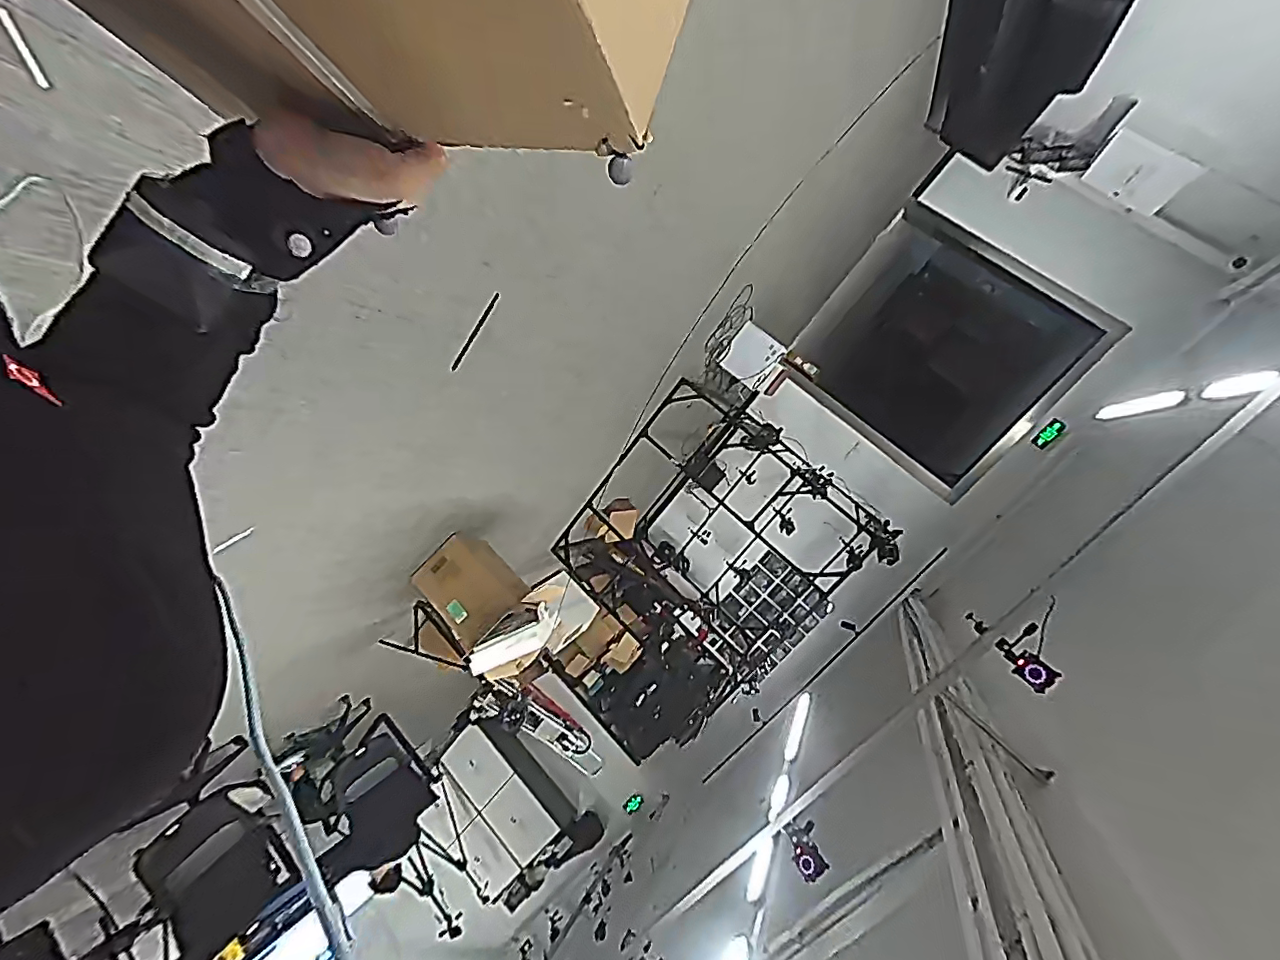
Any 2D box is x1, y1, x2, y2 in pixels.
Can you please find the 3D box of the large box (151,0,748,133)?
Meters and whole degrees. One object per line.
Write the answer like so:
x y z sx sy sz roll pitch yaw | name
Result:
-0.123 -0.380 0.132 0.408 0.320 0.320 27 82 -68 | large box
